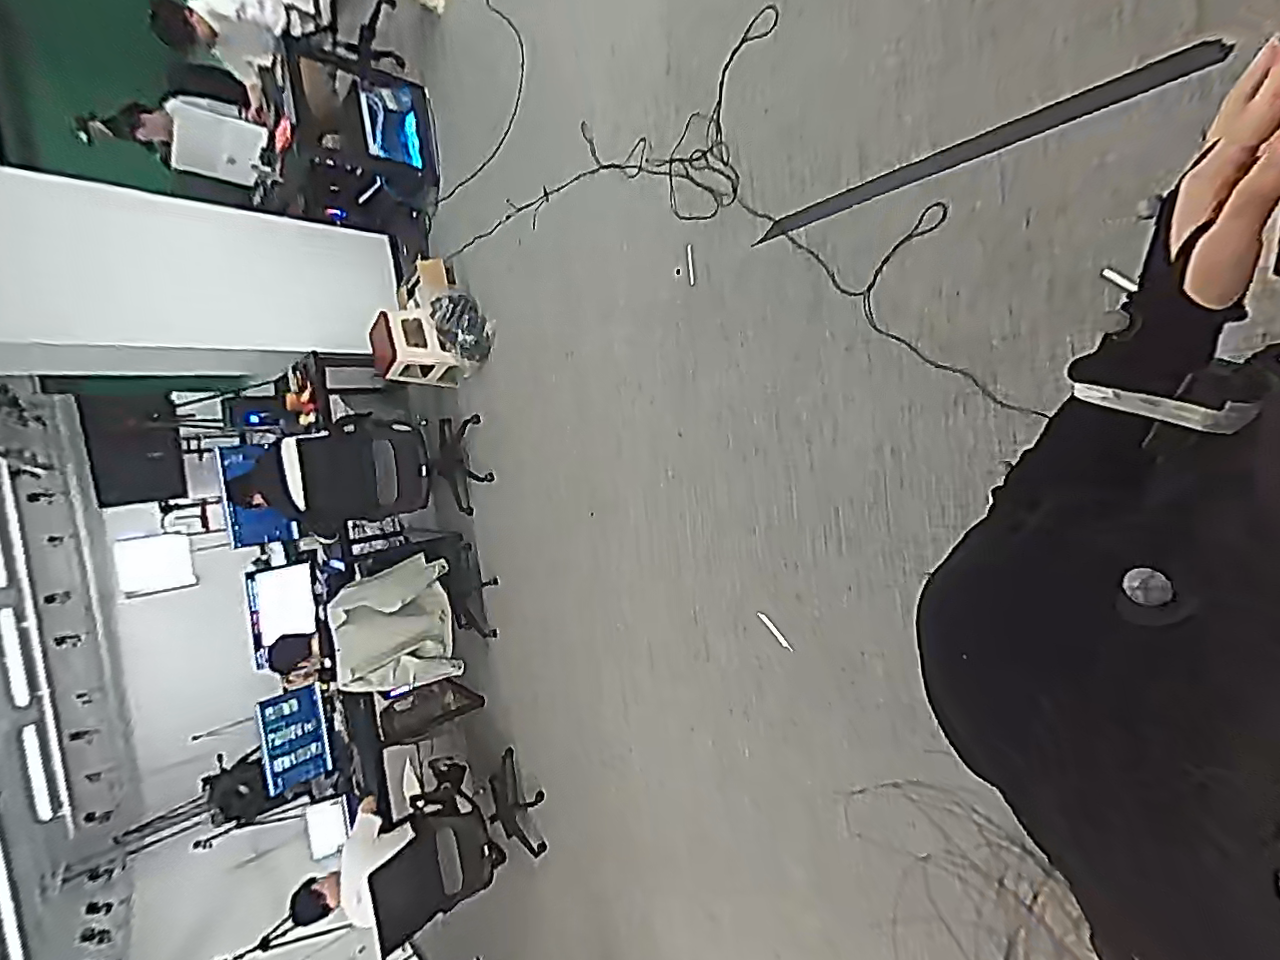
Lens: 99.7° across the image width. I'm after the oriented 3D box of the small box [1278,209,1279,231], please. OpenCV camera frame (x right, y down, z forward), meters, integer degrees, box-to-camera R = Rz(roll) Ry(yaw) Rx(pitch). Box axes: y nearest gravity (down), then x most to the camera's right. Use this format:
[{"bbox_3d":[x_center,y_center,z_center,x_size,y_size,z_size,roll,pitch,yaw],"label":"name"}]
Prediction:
[{"bbox_3d":[0.396,-0.204,0.214,0.168,0.176,0.179,10,93,45],"label":"small box"}]
